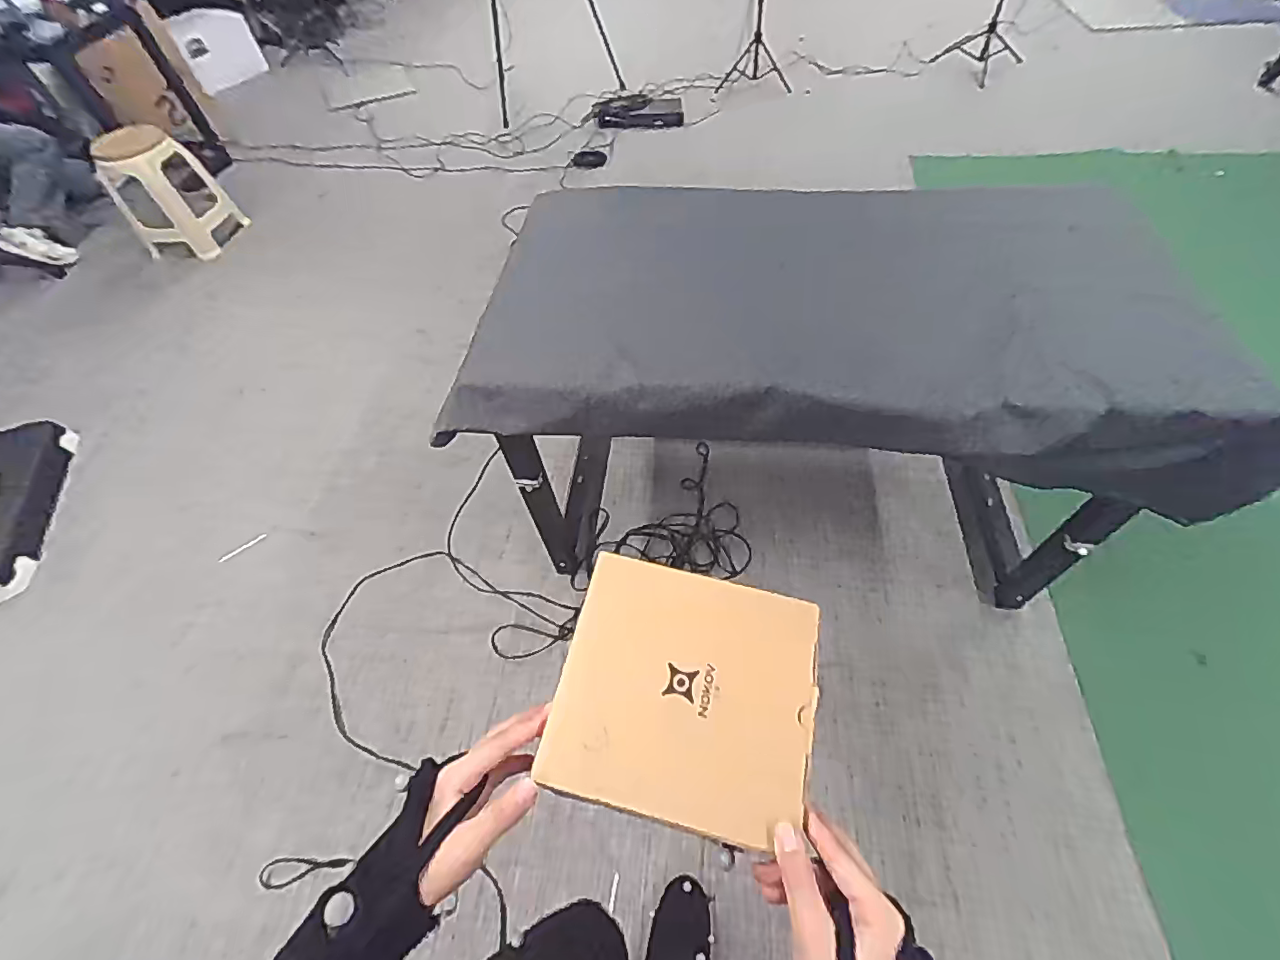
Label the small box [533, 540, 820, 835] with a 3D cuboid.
[{"bbox_3d":[0.031,0.174,0.445,0.179,0.176,0.168,13,59,5],"label":"small box"}]
